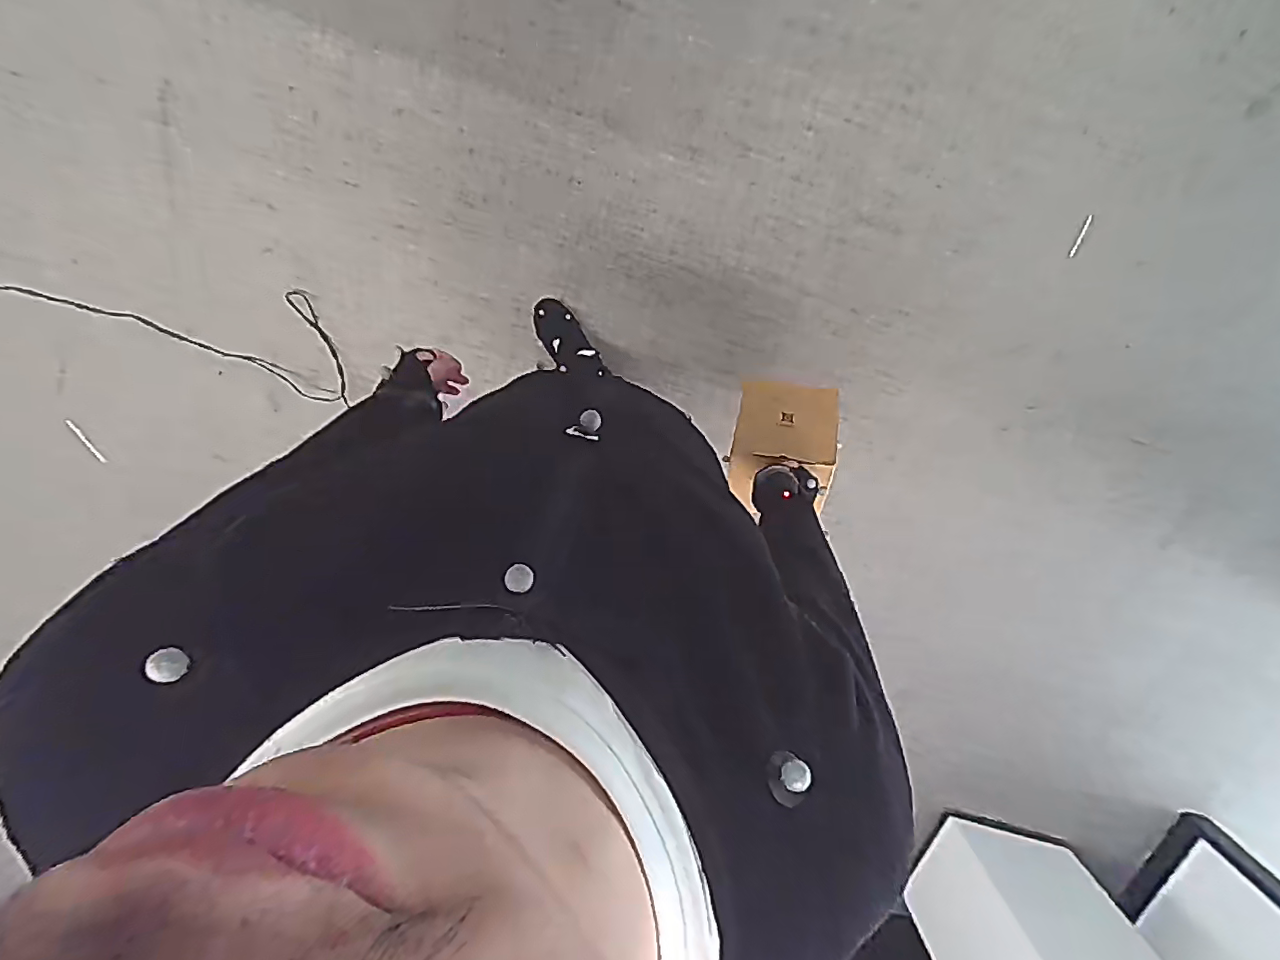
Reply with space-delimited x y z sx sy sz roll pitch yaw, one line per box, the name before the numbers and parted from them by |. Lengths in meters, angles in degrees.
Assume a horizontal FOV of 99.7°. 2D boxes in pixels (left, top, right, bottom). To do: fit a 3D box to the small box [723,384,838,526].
small box | 0.242 -0.041 0.953 0.168 0.179 0.176 10 143 10
